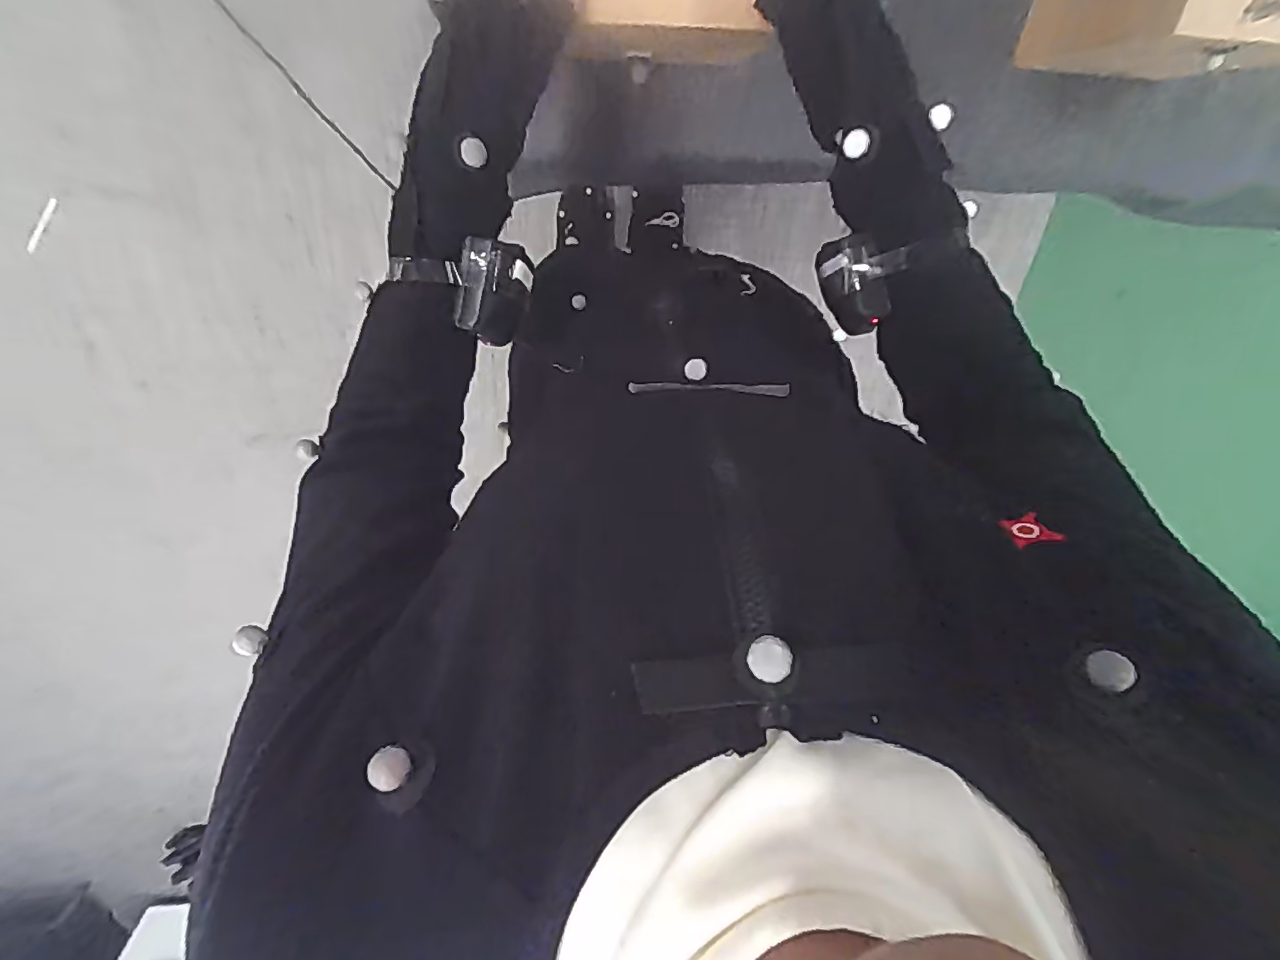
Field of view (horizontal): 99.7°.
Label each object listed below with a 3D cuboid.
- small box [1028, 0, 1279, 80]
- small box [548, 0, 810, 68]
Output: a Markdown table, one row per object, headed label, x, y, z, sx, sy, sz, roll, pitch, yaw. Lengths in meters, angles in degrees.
| label | x | y | z | sx | sy | sz | roll | pitch | yaw |
| --- | --- | --- | --- | --- | --- | --- | --- | --- | --- |
| small box | 0.447 | -0.426 | 0.408 | 0.168 | 0.176 | 0.179 | -1 | 121 | -6 |
| small box | 0.021 | -0.395 | 0.353 | 0.168 | 0.176 | 0.179 | 1 | 121 | -4 |
